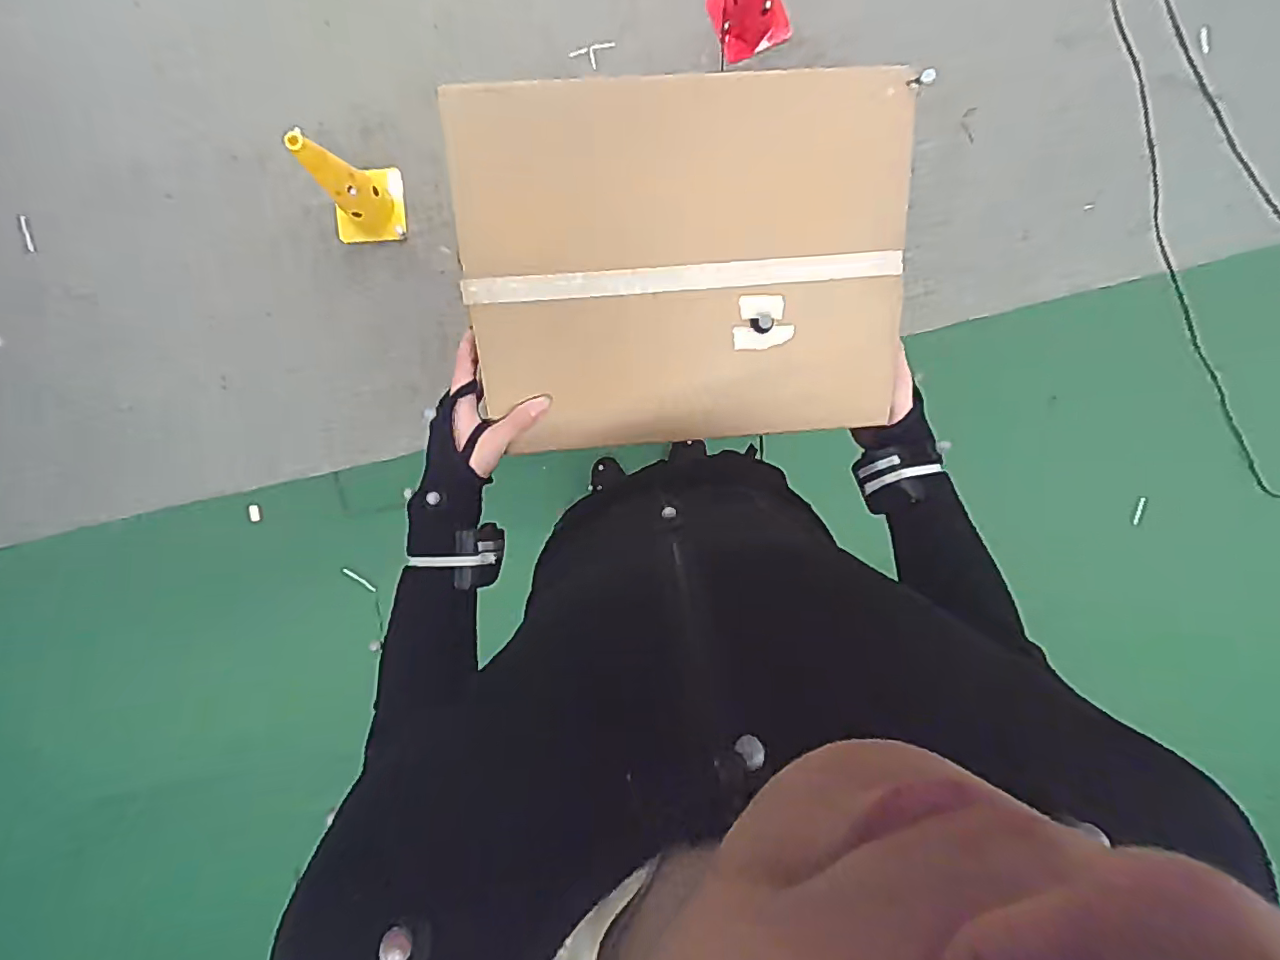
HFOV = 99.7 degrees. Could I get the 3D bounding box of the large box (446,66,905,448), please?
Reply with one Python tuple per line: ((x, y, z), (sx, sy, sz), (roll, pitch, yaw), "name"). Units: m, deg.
((0.031, -0.242, 0.646), (0.408, 0.320, 0.320), (-5, 109, -4), "large box")
